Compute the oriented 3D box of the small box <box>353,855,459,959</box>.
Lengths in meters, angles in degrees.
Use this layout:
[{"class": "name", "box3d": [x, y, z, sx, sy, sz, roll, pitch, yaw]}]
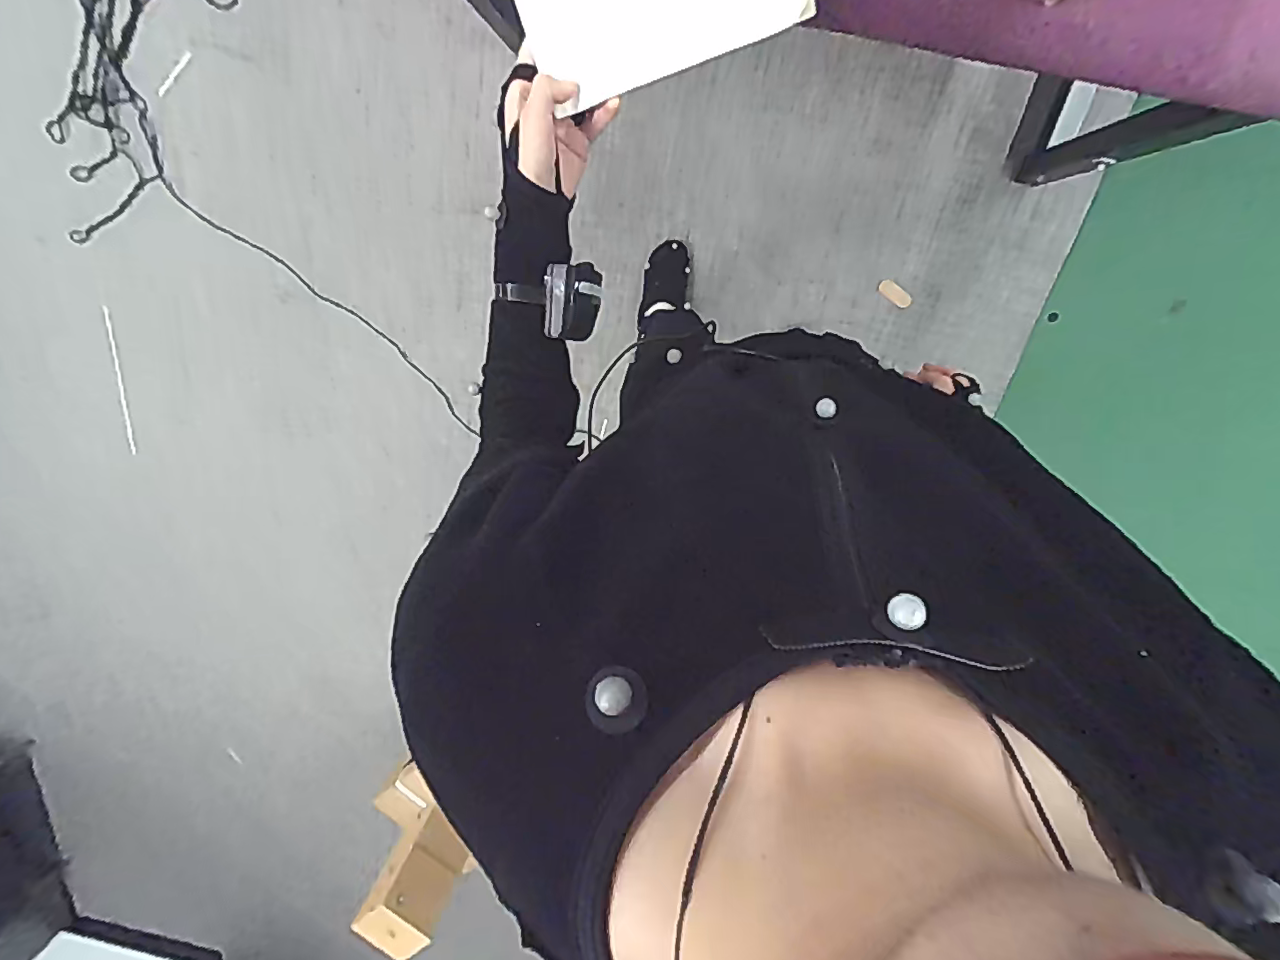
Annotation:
[{"class": "small box", "box3d": [-0.641, 1.198, 1.503, 0.179, 0.176, 0.168, 43, 110, -7]}]
